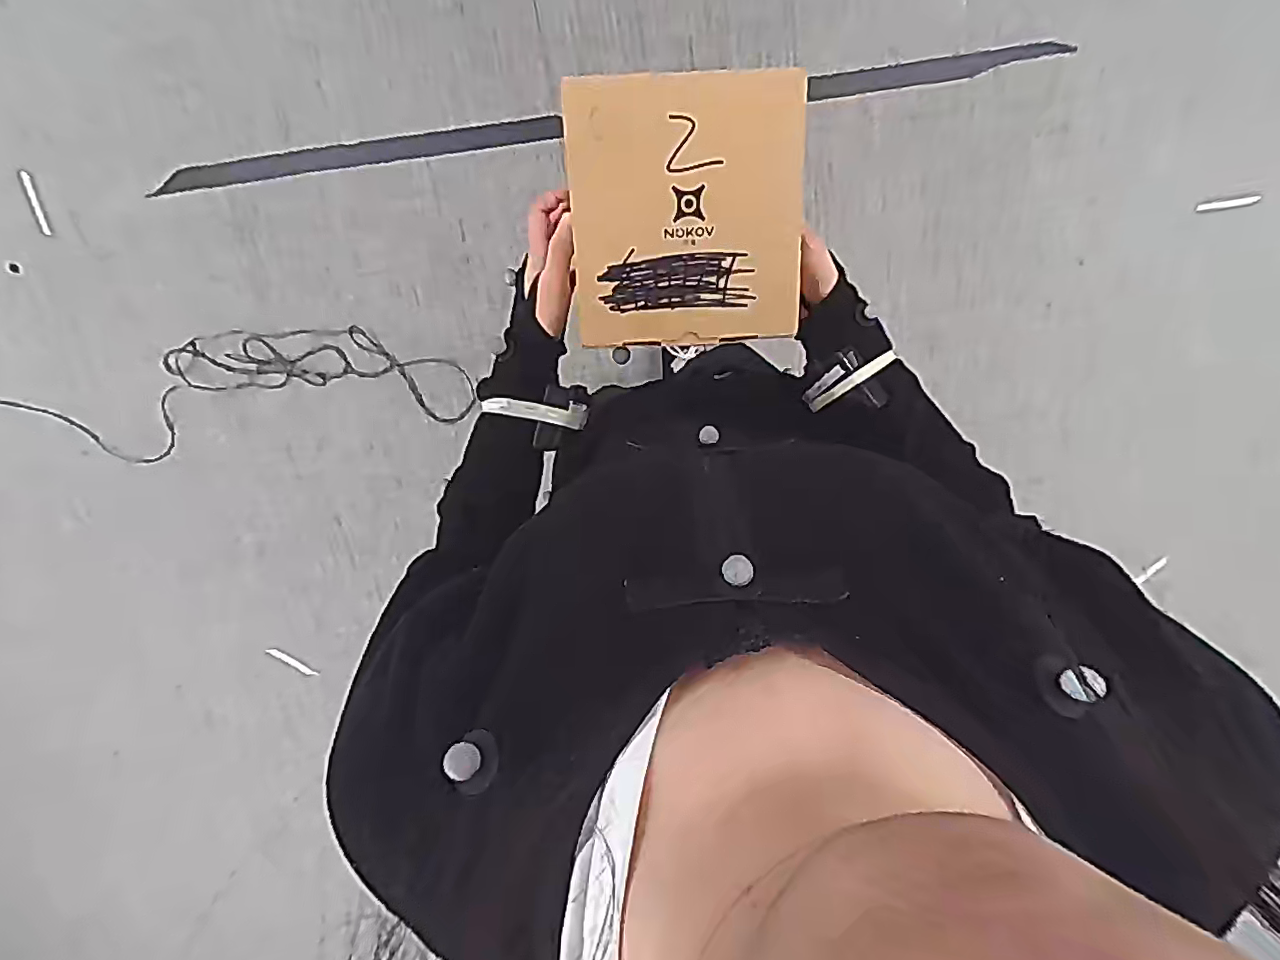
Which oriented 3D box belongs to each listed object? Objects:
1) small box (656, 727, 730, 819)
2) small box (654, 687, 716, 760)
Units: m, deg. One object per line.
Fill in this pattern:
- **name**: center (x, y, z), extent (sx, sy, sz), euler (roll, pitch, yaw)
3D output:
- **small box**: center (0.141, 0.807, 1.497), extent (0.179, 0.176, 0.168), euler (1, 104, -3)
- **small box**: center (0.133, 0.756, 1.653), extent (0.179, 0.176, 0.168), euler (-2, 105, -2)
